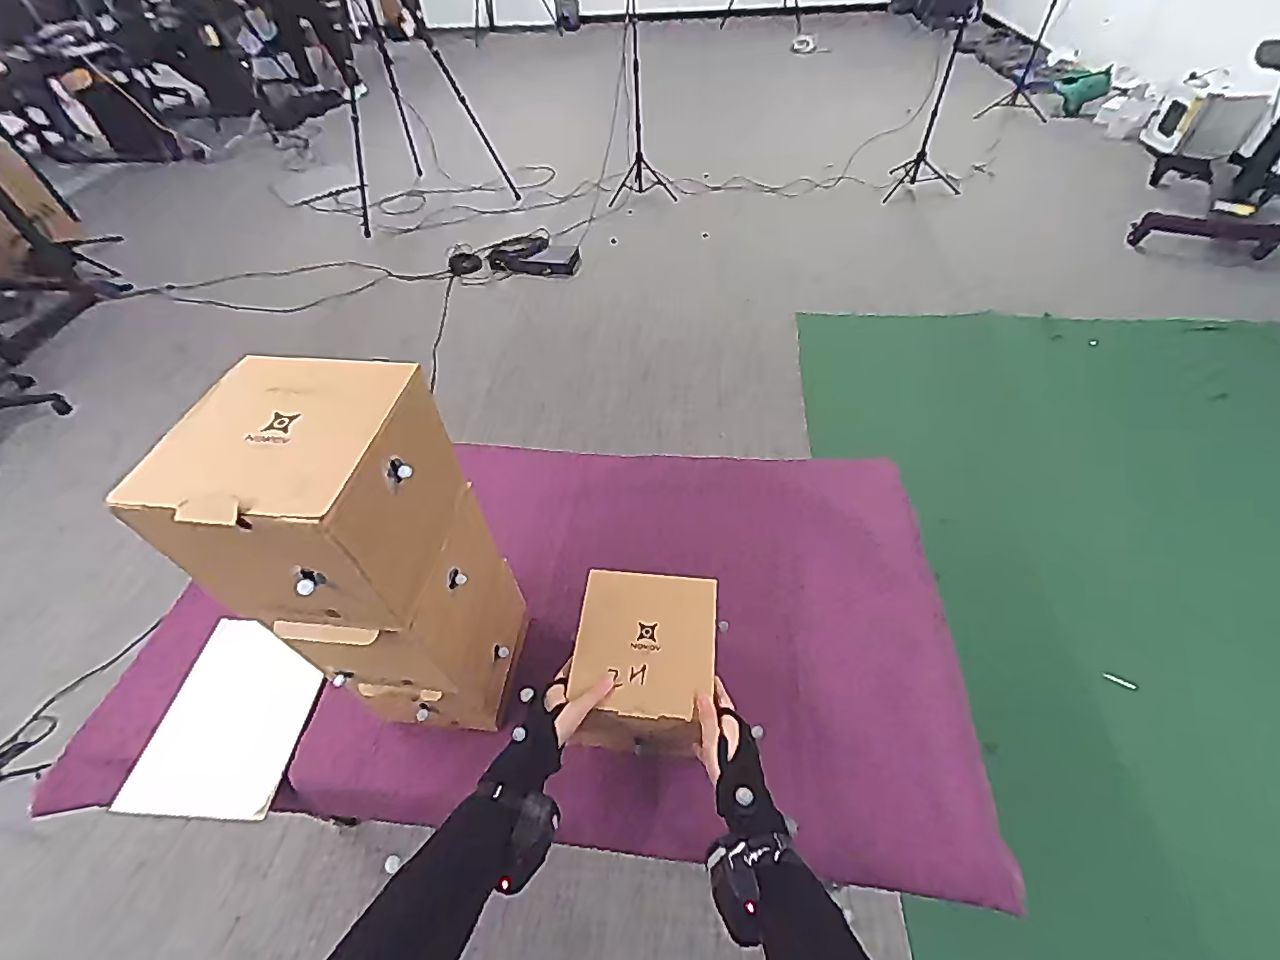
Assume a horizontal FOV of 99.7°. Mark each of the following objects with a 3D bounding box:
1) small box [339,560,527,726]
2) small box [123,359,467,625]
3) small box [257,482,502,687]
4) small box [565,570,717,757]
[{"bbox_3d":[-0.264,0.222,0.744,0.168,0.176,0.179,4,50,5],"label":"small box"},{"bbox_3d":[-0.277,0.013,0.491,0.168,0.176,0.179,5,49,6],"label":"small box"},{"bbox_3d":[-0.270,0.117,0.616,0.168,0.176,0.179,3,48,6],"label":"small box"},{"bbox_3d":[0.010,0.241,0.707,0.168,0.176,0.179,3,51,7],"label":"small box"}]
